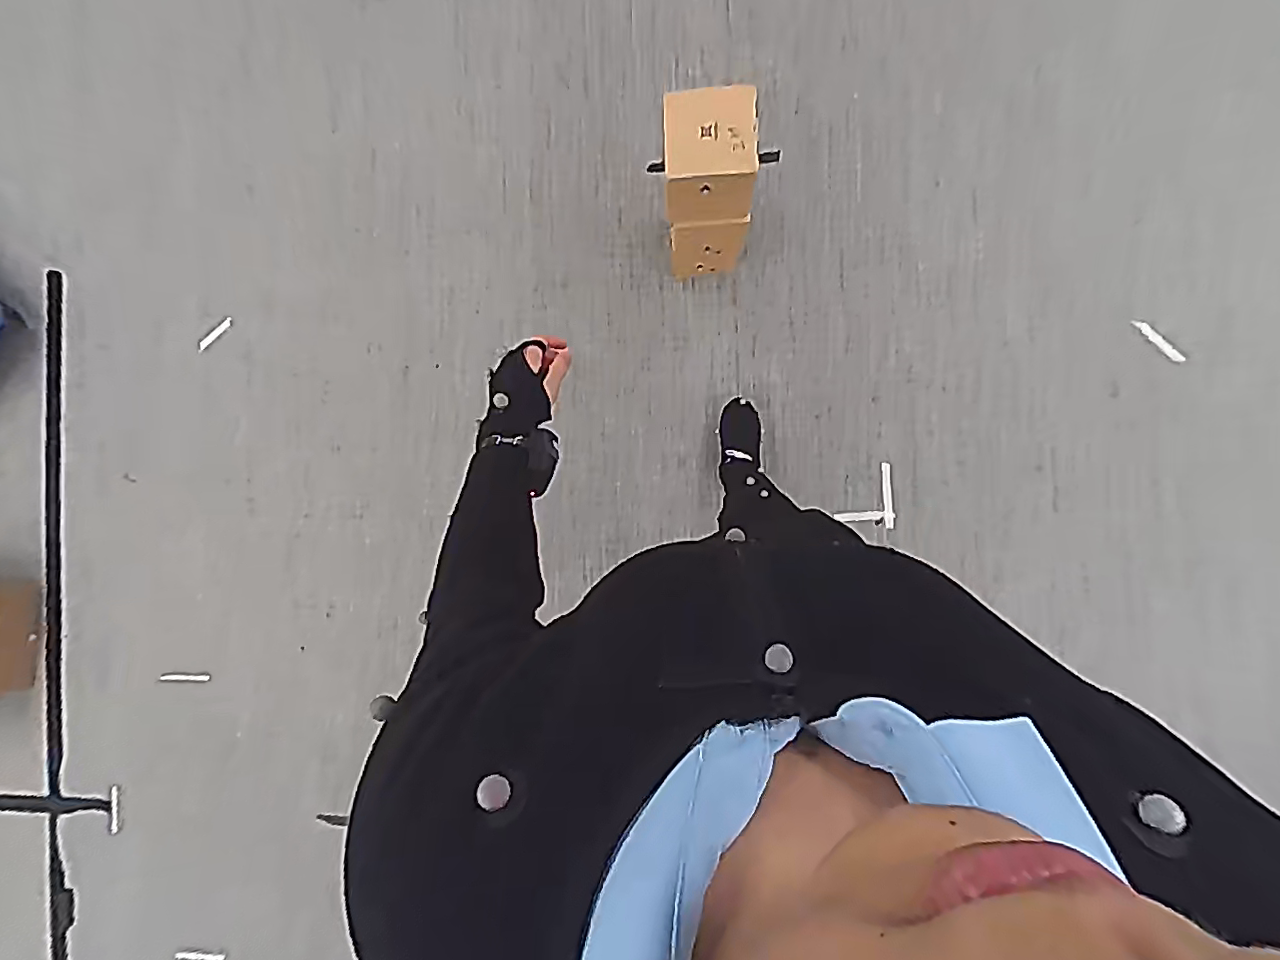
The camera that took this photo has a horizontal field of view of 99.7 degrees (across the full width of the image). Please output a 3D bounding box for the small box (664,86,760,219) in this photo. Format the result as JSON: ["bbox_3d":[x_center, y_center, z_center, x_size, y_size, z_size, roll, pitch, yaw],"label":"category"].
[{"bbox_3d":[0.140,-0.640,1.079,0.179,0.176,0.168,-2,90,4],"label":"small box"}]

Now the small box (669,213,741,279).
[{"bbox_3d":[0.165,-0.648,1.407,0.168,0.176,0.179,-7,89,4],"label":"small box"}]
